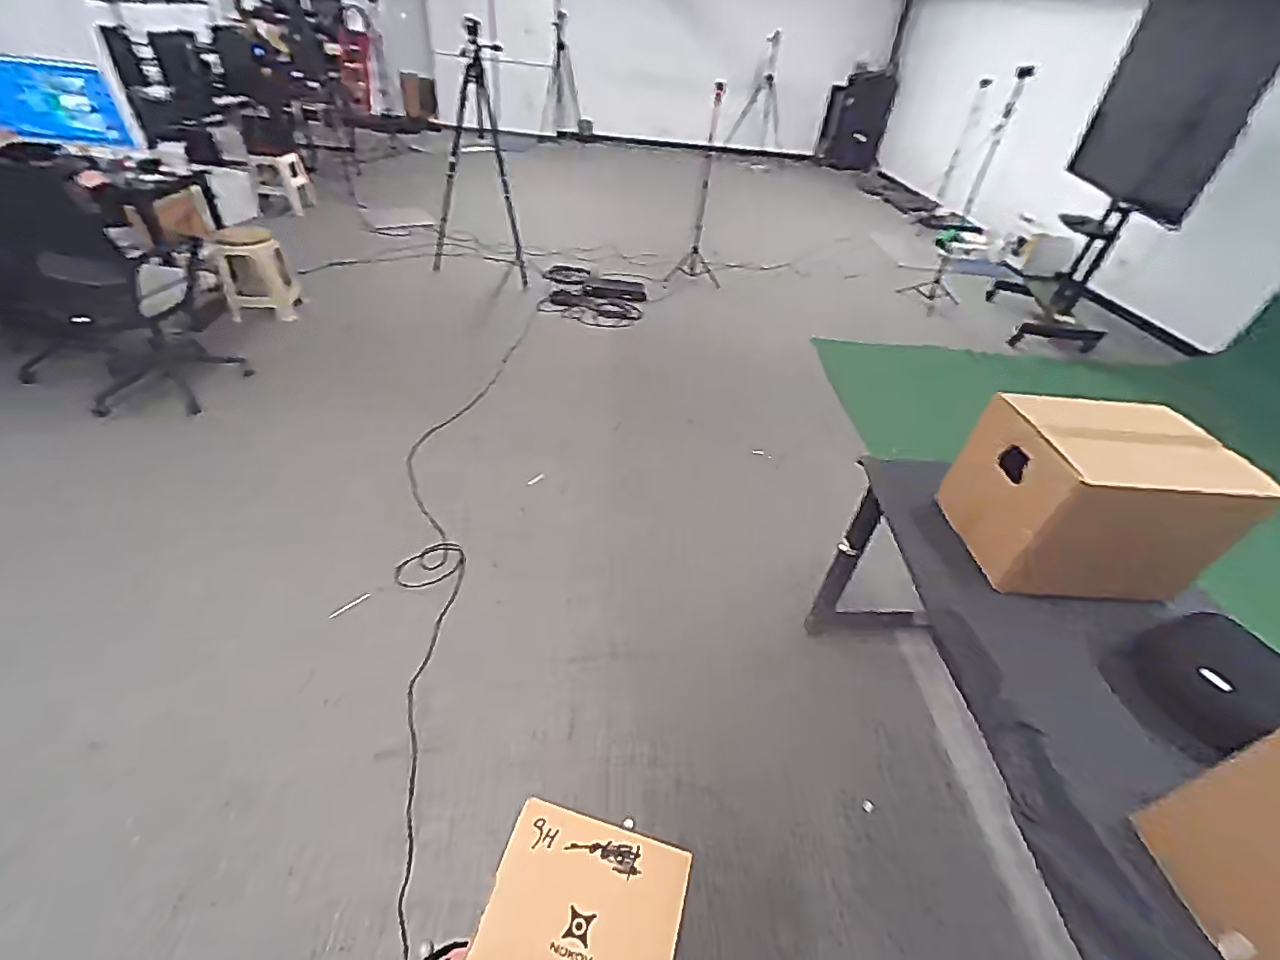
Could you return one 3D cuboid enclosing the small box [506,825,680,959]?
[{"bbox_3d":[-0.053,0.547,0.635,0.168,0.176,0.179,11,44,8],"label":"small box"}]
